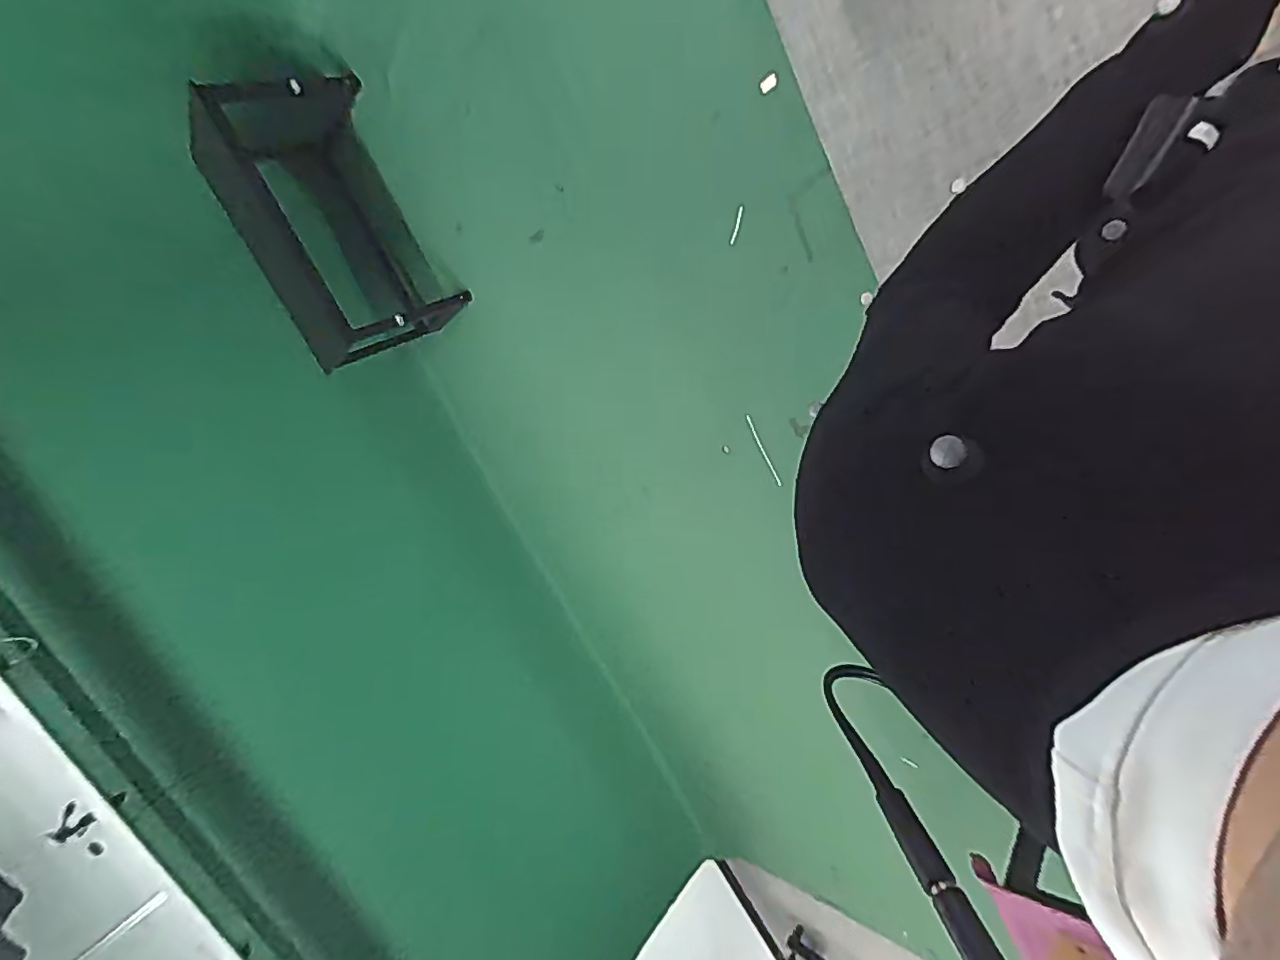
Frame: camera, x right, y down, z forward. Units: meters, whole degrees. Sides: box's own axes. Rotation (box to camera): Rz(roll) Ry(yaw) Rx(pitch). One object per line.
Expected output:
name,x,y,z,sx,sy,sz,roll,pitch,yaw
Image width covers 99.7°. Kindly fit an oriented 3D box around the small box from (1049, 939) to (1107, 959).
small box,1.004,1.171,1.174,0.168,0.176,0.179,-13,108,51
